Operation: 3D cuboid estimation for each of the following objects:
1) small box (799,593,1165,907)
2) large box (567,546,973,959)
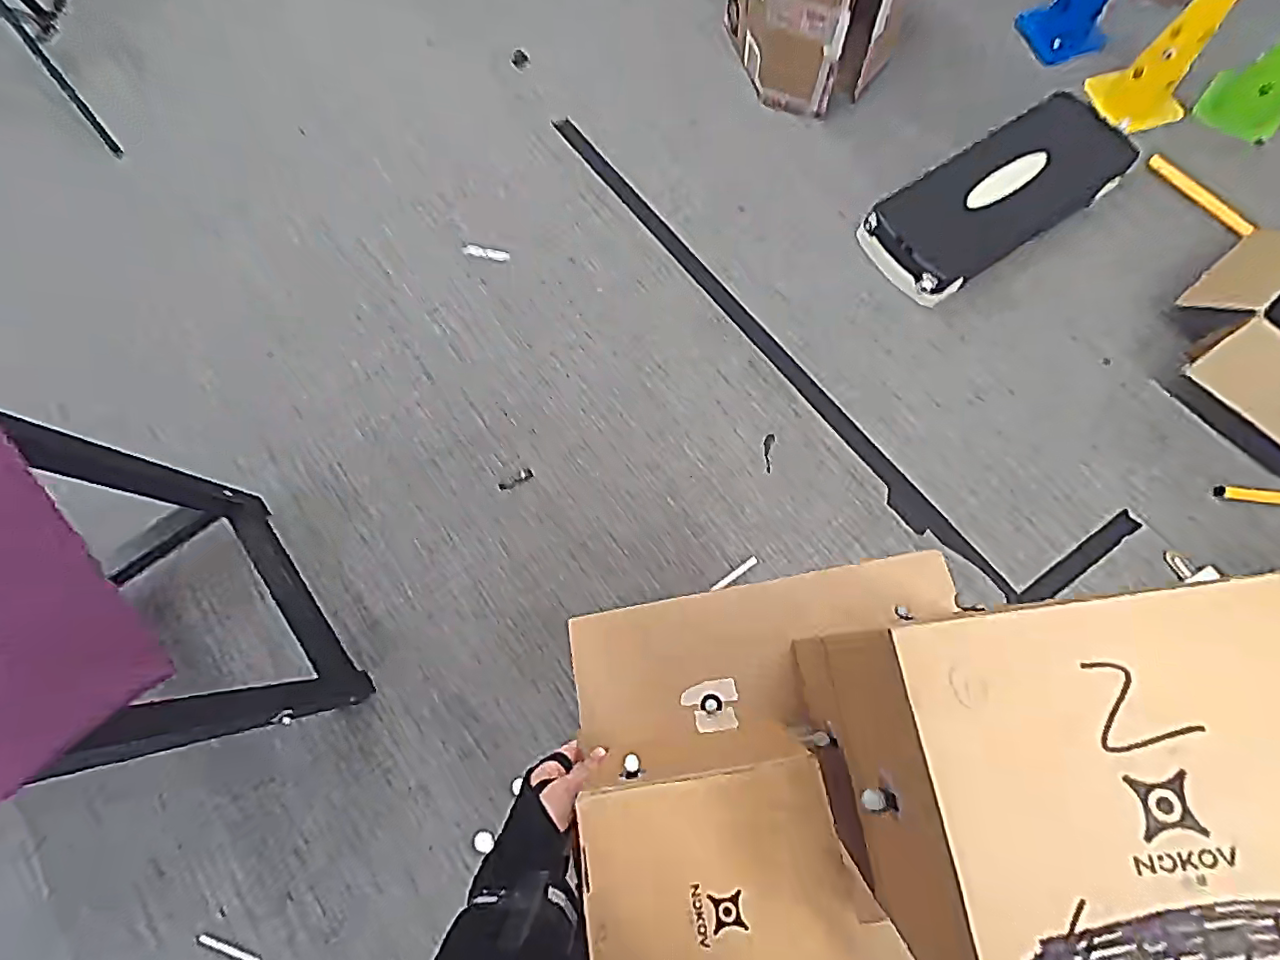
[{"bbox_3d":[0.233,0.195,0.430,0.168,0.176,0.179,-9,72,6],"label":"small box"},{"bbox_3d":[0.161,0.295,0.668,0.408,0.320,0.320,-12,71,4],"label":"large box"}]
